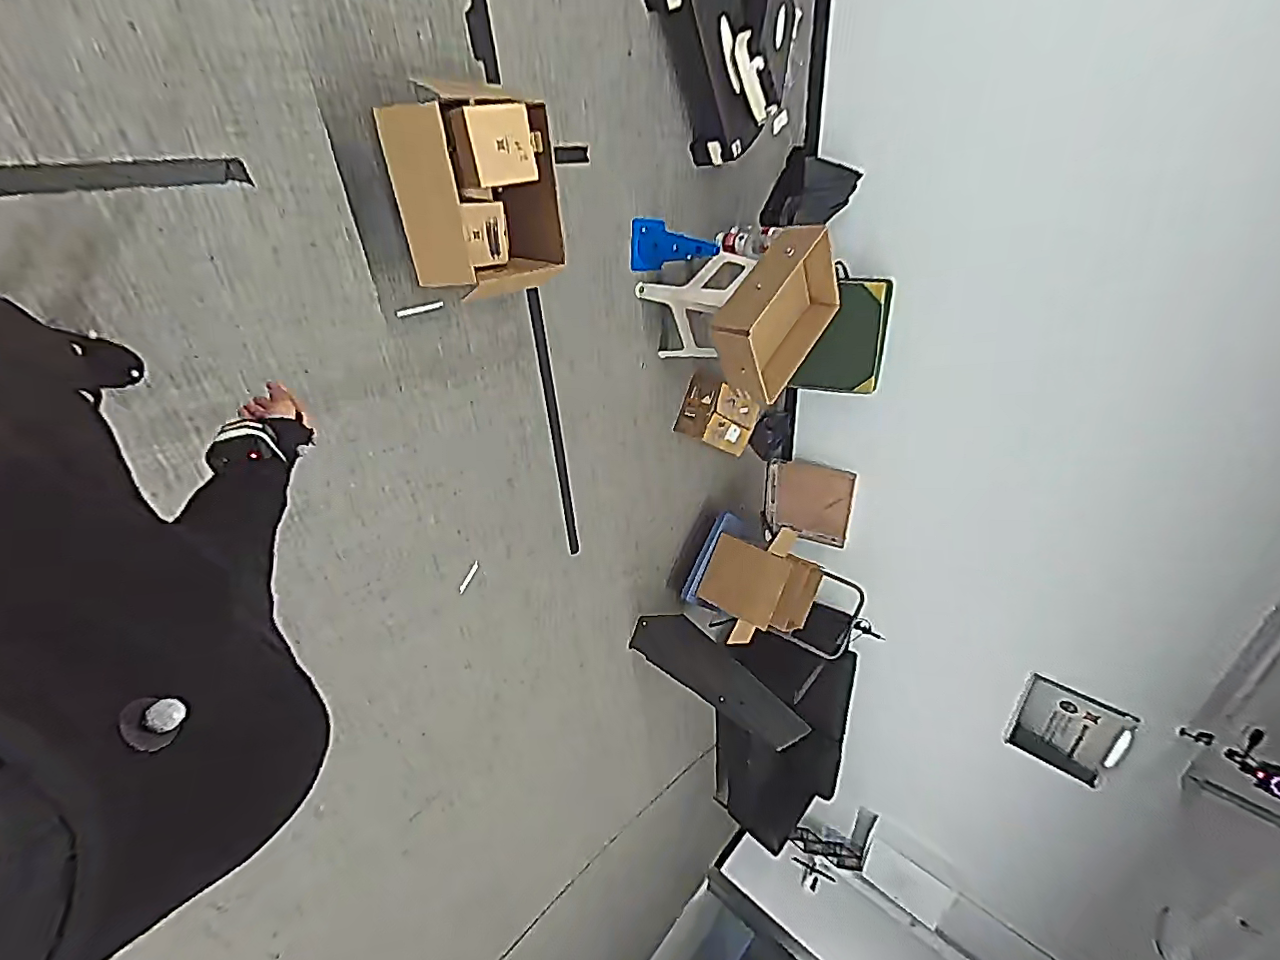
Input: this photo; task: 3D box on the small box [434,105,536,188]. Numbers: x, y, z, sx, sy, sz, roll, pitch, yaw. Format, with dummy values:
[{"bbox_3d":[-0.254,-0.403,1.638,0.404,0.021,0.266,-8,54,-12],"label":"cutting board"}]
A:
[{"bbox_3d":[-0.395,-0.838,1.364,0.179,0.176,0.168,-33,132,-36],"label":"small box"}]
